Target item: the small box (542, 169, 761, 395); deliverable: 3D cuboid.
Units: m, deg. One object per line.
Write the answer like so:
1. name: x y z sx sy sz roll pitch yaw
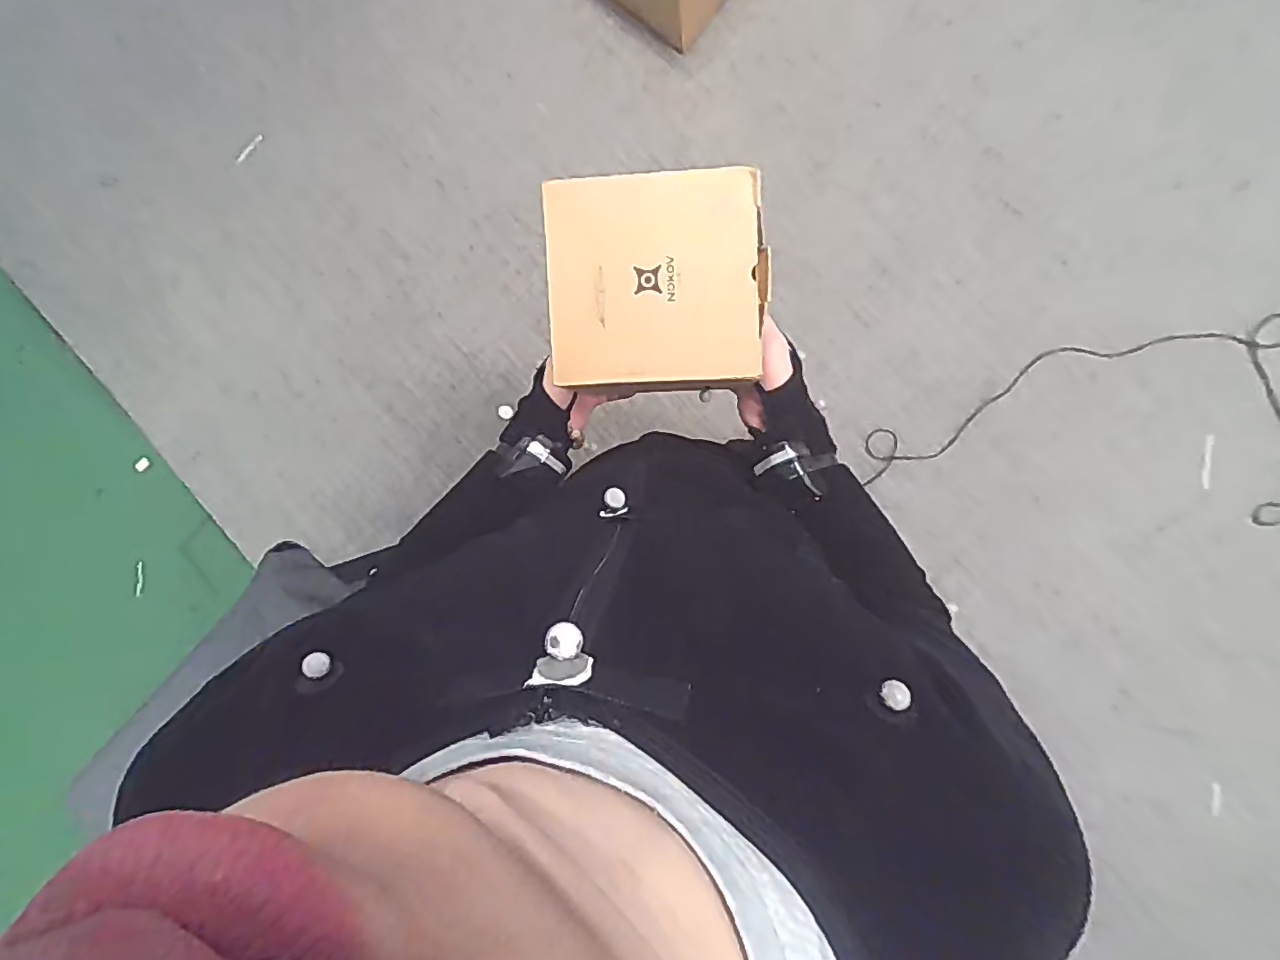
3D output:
1. small box: 0.016 -0.170 0.517 0.179 0.176 0.168 -2 96 6
